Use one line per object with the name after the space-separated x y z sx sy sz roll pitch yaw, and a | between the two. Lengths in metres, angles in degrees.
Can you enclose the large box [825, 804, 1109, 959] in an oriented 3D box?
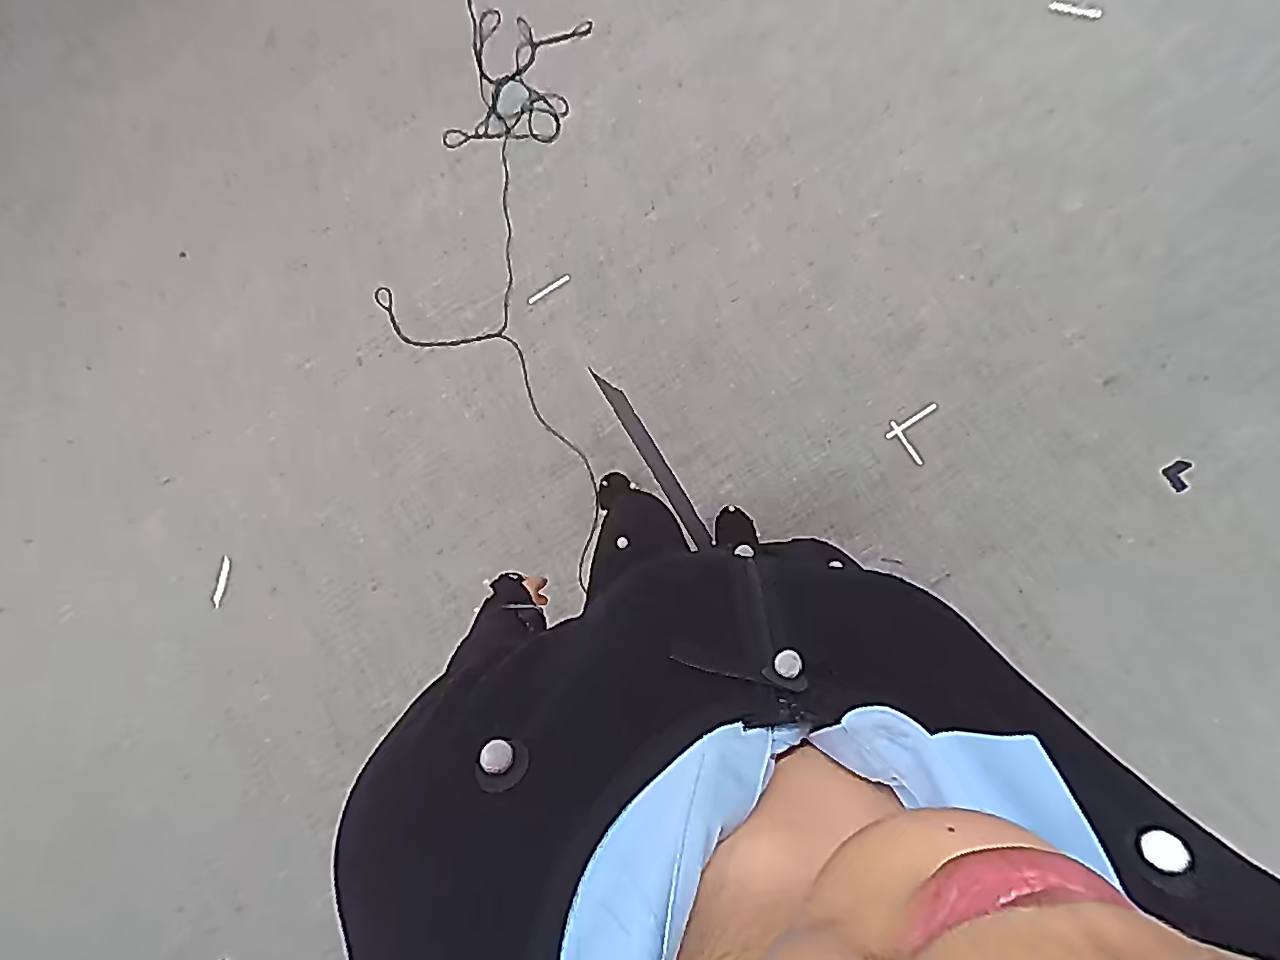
0.652 0.941 1.092 0.408 0.320 0.320 -22 85 4 | large box
